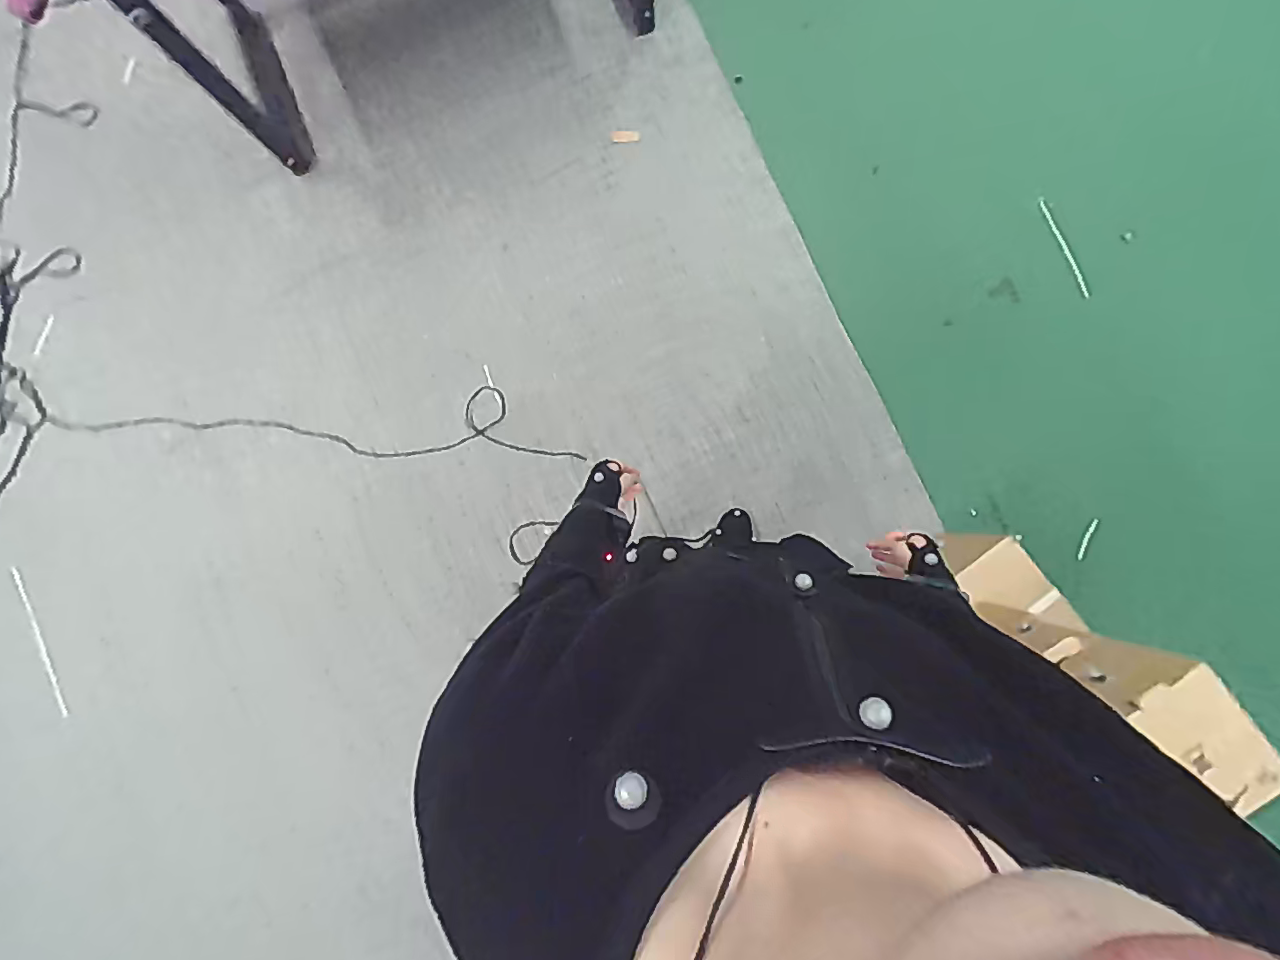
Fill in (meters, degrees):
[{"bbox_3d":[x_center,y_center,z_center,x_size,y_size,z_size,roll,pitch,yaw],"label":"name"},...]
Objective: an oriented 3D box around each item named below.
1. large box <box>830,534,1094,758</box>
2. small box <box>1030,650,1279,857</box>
[{"bbox_3d":[0.754,0.372,1.320,0.408,0.320,0.320,-37,86,-1],"label":"large box"},{"bbox_3d":[0.701,0.355,0.749,0.168,0.176,0.179,-33,83,1],"label":"small box"}]
